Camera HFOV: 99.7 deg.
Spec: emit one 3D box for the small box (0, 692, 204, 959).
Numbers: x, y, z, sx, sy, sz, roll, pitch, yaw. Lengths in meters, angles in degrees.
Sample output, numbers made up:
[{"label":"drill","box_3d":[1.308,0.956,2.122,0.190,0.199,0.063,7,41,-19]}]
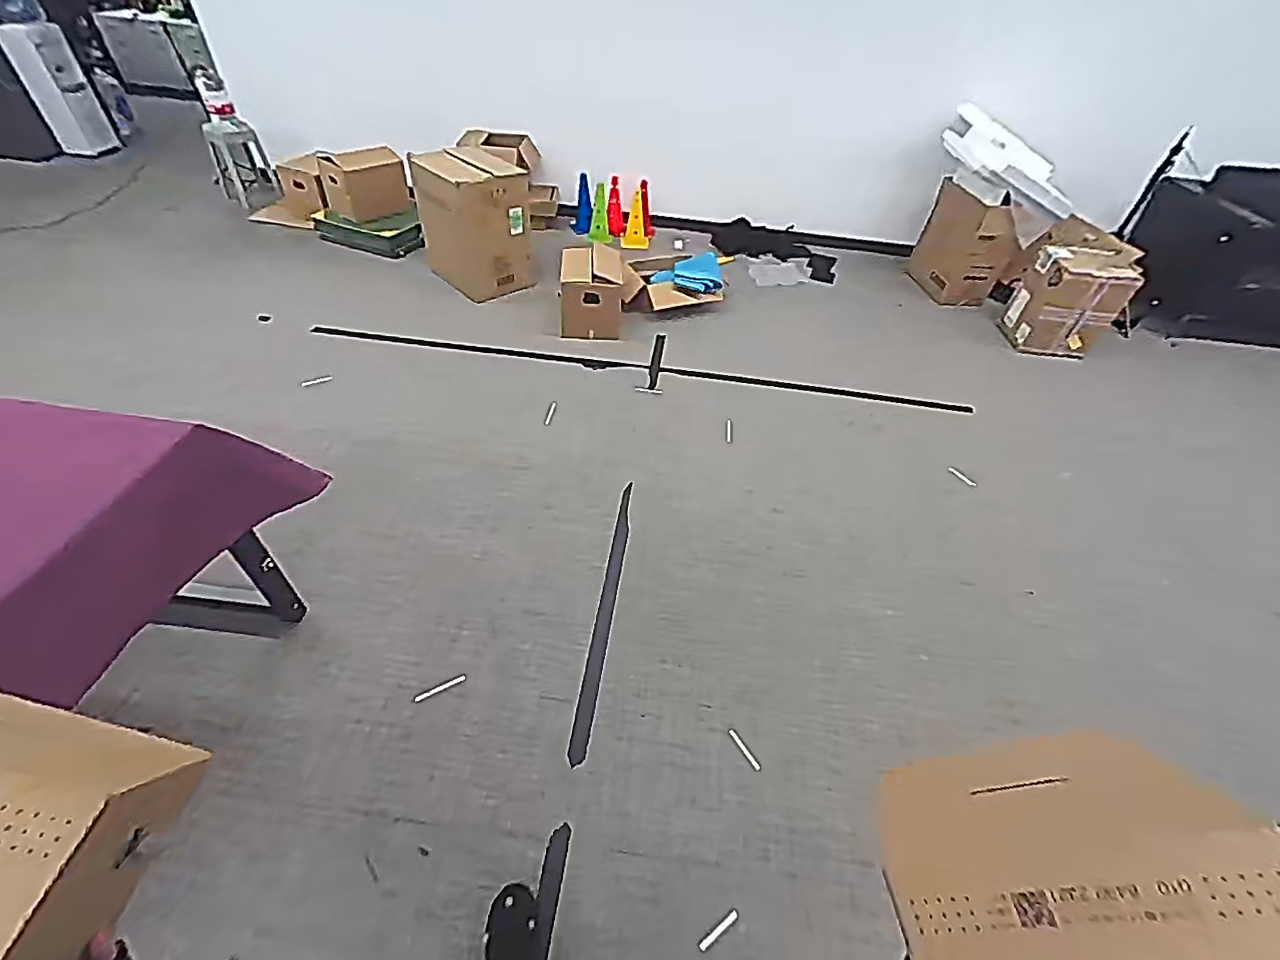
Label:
[{"label":"small box","box_3d":[-0.373,0.202,0.267,0.168,0.179,0.176,26,61,-13]}]
